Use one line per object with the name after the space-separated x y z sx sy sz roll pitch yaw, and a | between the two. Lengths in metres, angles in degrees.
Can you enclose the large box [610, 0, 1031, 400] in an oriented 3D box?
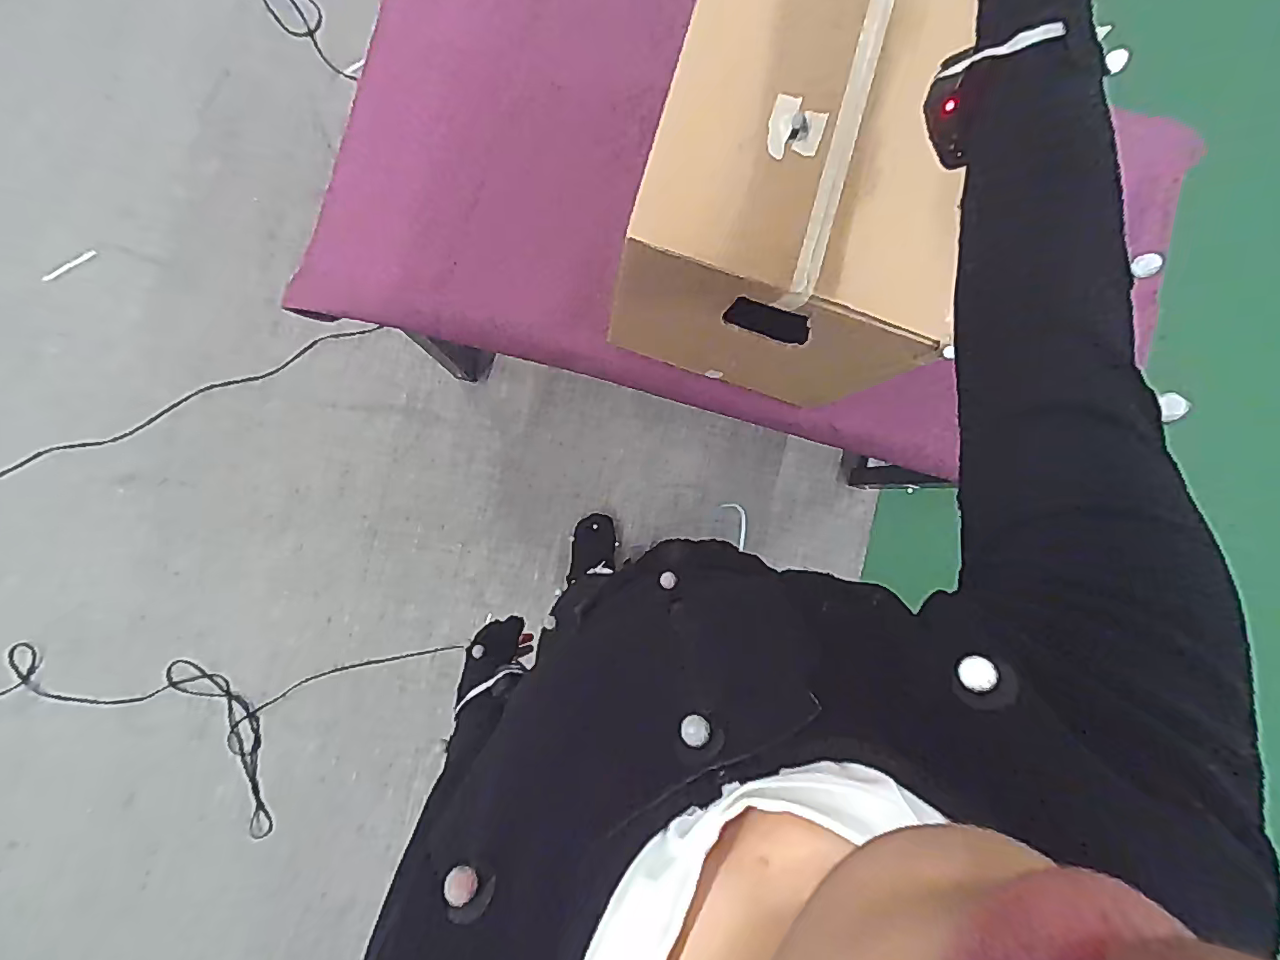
0.171 -0.350 0.644 0.320 0.320 0.408 17 87 -5 | large box
